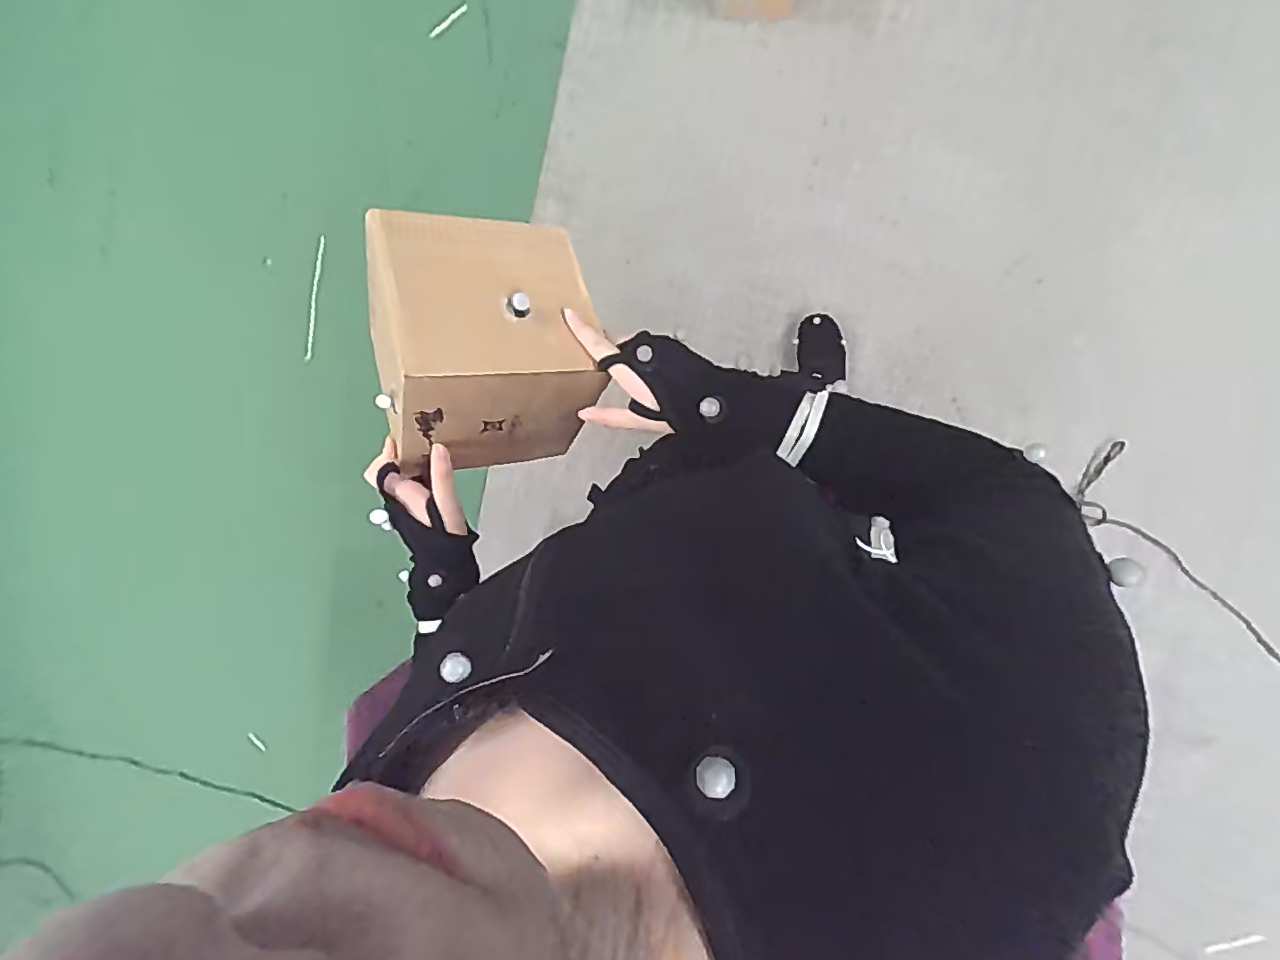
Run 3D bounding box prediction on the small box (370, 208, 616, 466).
[{"bbox_3d":[-0.150,-0.132,0.522,0.168,0.179,0.176,-48,56,55],"label":"small box"}]
